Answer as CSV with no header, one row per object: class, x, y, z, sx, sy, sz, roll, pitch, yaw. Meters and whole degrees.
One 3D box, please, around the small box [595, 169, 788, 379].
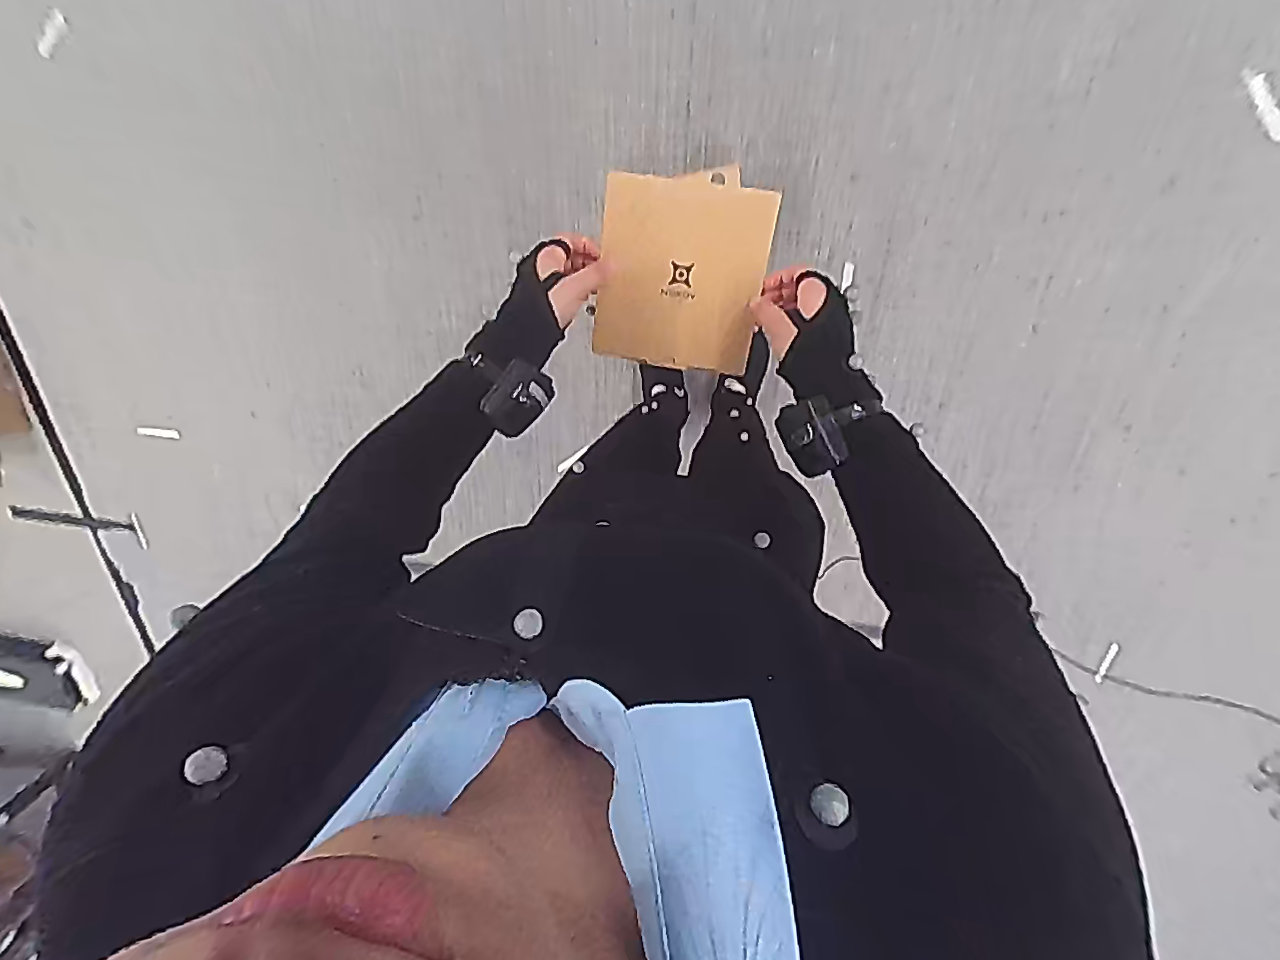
small box,0.051,-0.227,0.599,0.168,0.176,0.179,9,116,2
